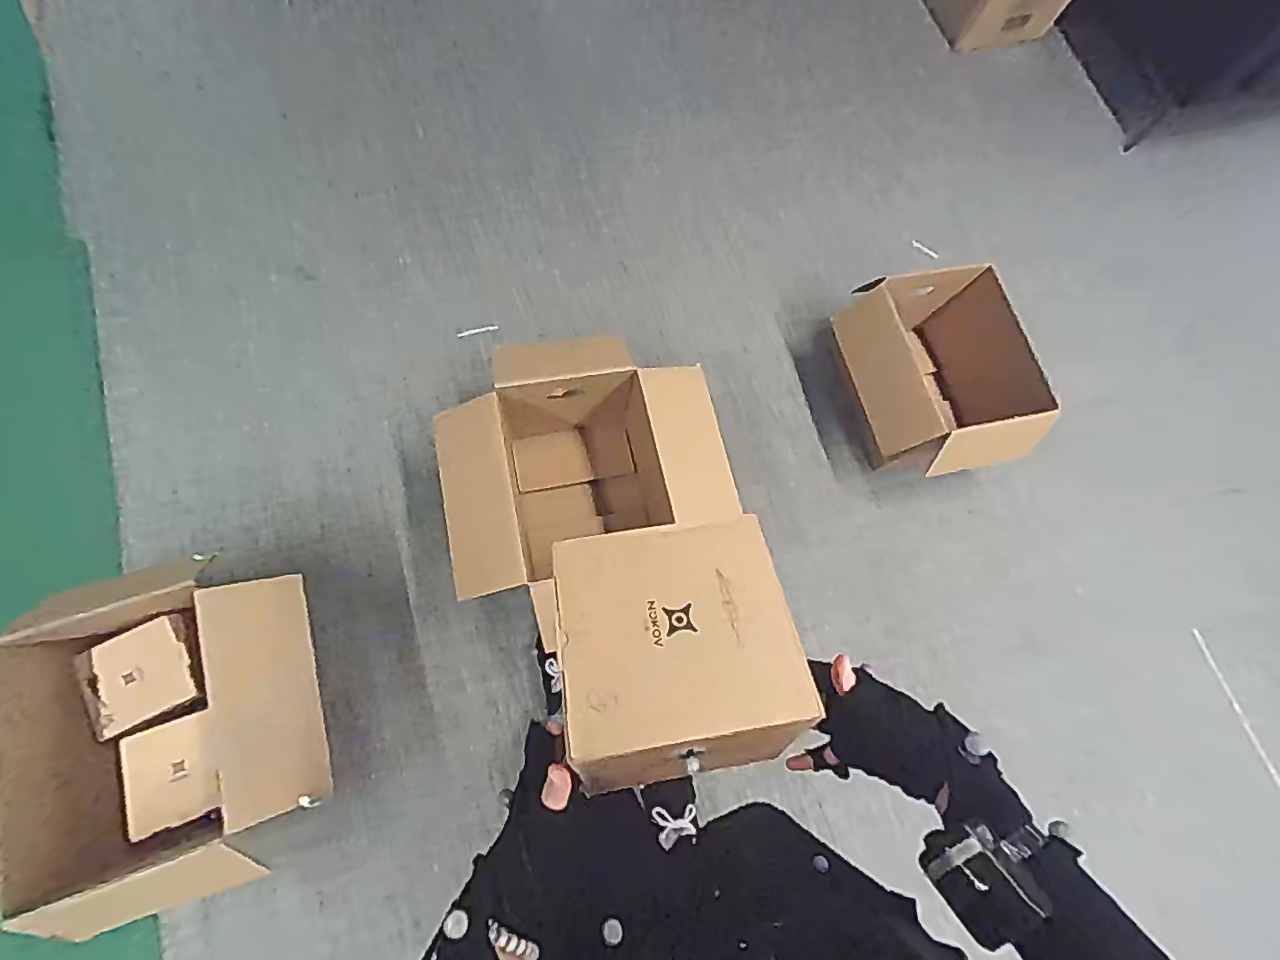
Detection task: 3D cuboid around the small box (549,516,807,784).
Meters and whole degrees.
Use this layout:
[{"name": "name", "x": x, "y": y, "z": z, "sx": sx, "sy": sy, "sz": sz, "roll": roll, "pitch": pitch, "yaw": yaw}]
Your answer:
[{"name": "small box", "x": 0.022, "y": 0.153, "z": 0.474, "sx": 0.179, "sy": 0.176, "sz": 0.168, "roll": -7, "pitch": 54, "yaw": -4}]
